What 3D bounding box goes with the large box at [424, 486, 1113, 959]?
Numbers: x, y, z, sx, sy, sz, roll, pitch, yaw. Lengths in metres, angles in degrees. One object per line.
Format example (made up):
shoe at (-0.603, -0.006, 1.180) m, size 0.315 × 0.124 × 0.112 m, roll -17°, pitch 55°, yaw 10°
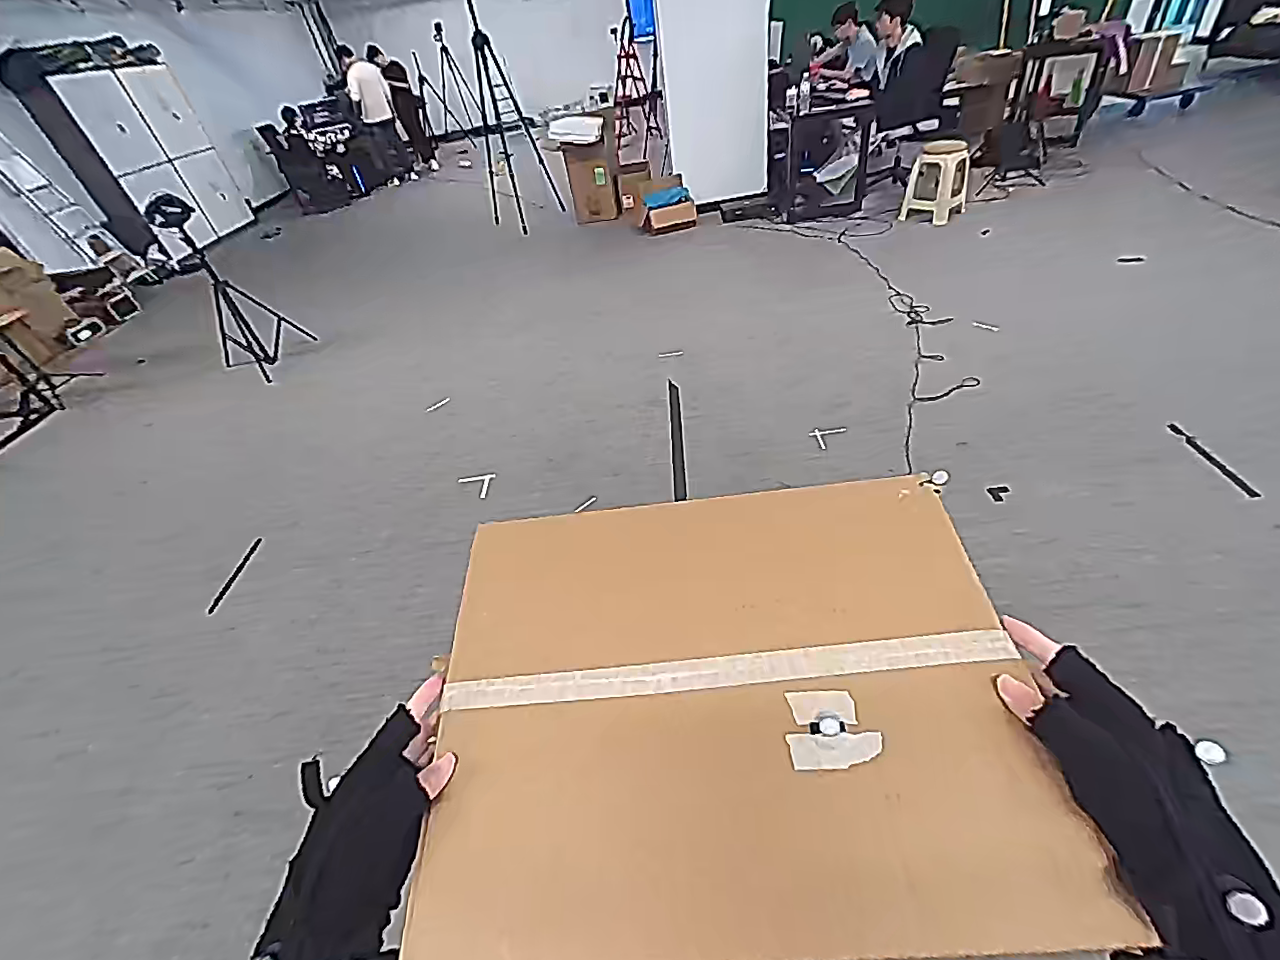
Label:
large box at (0.075, 0.240, 0.515) m, size 0.408 × 0.320 × 0.320 m, roll -7°, pitch 51°, yaw 4°
